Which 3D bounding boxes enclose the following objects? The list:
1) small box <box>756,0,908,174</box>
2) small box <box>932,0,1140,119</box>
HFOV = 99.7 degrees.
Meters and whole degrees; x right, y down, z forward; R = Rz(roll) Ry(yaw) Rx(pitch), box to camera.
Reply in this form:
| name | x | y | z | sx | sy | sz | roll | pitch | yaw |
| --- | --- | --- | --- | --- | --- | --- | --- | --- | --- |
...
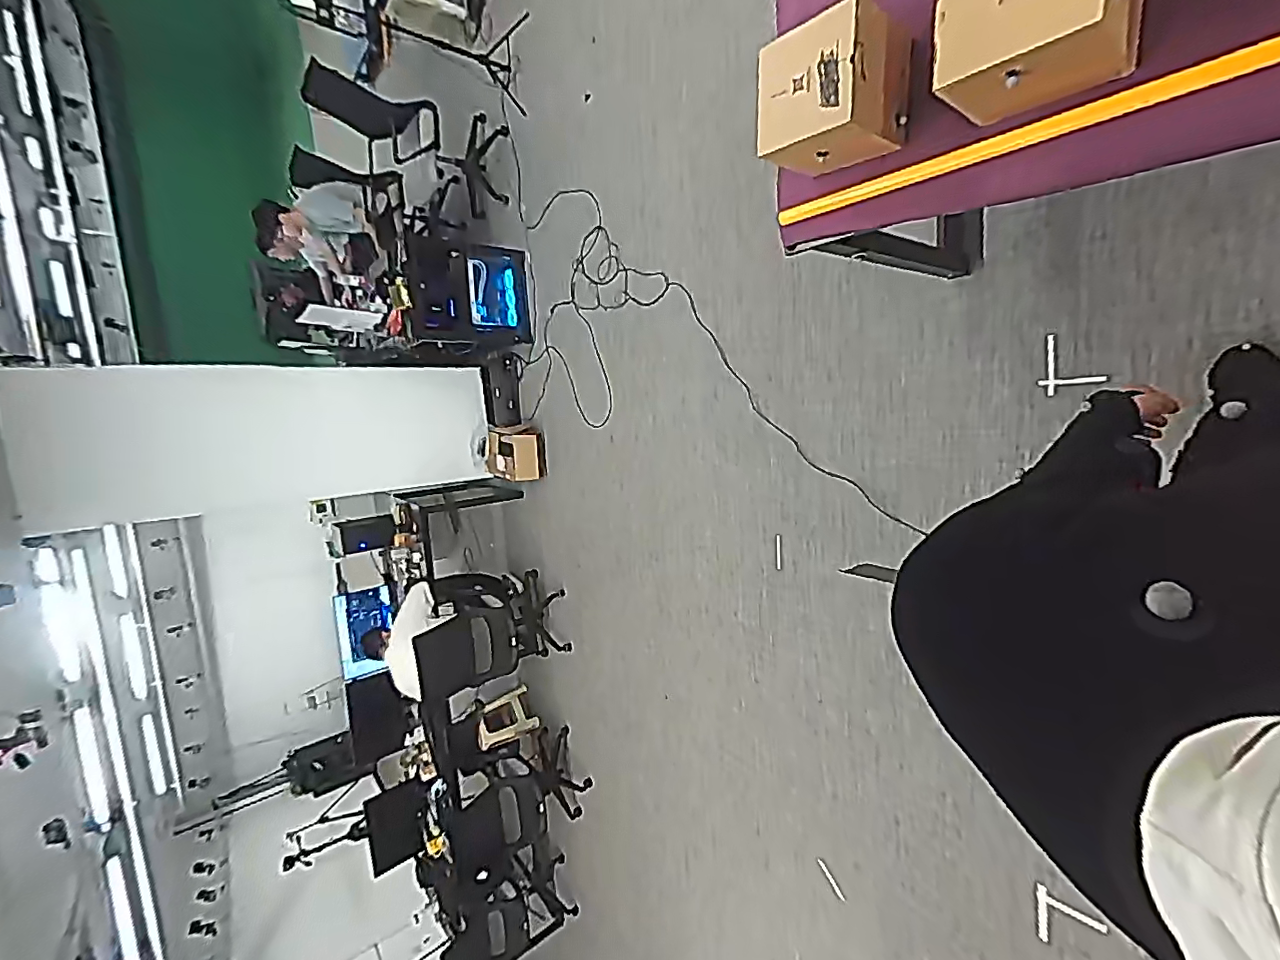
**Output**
| name | x | y | z | sx | sy | sz | roll | pitch | yaw |
| --- | --- | --- | --- | --- | --- | --- | --- | --- | --- |
| small box | 0.313 | -0.624 | 0.882 | 0.179 | 0.176 | 0.168 | 14 | 108 | 50 |
| small box | 0.491 | -0.583 | 0.666 | 0.179 | 0.176 | 0.168 | 11 | 106 | 52 |
